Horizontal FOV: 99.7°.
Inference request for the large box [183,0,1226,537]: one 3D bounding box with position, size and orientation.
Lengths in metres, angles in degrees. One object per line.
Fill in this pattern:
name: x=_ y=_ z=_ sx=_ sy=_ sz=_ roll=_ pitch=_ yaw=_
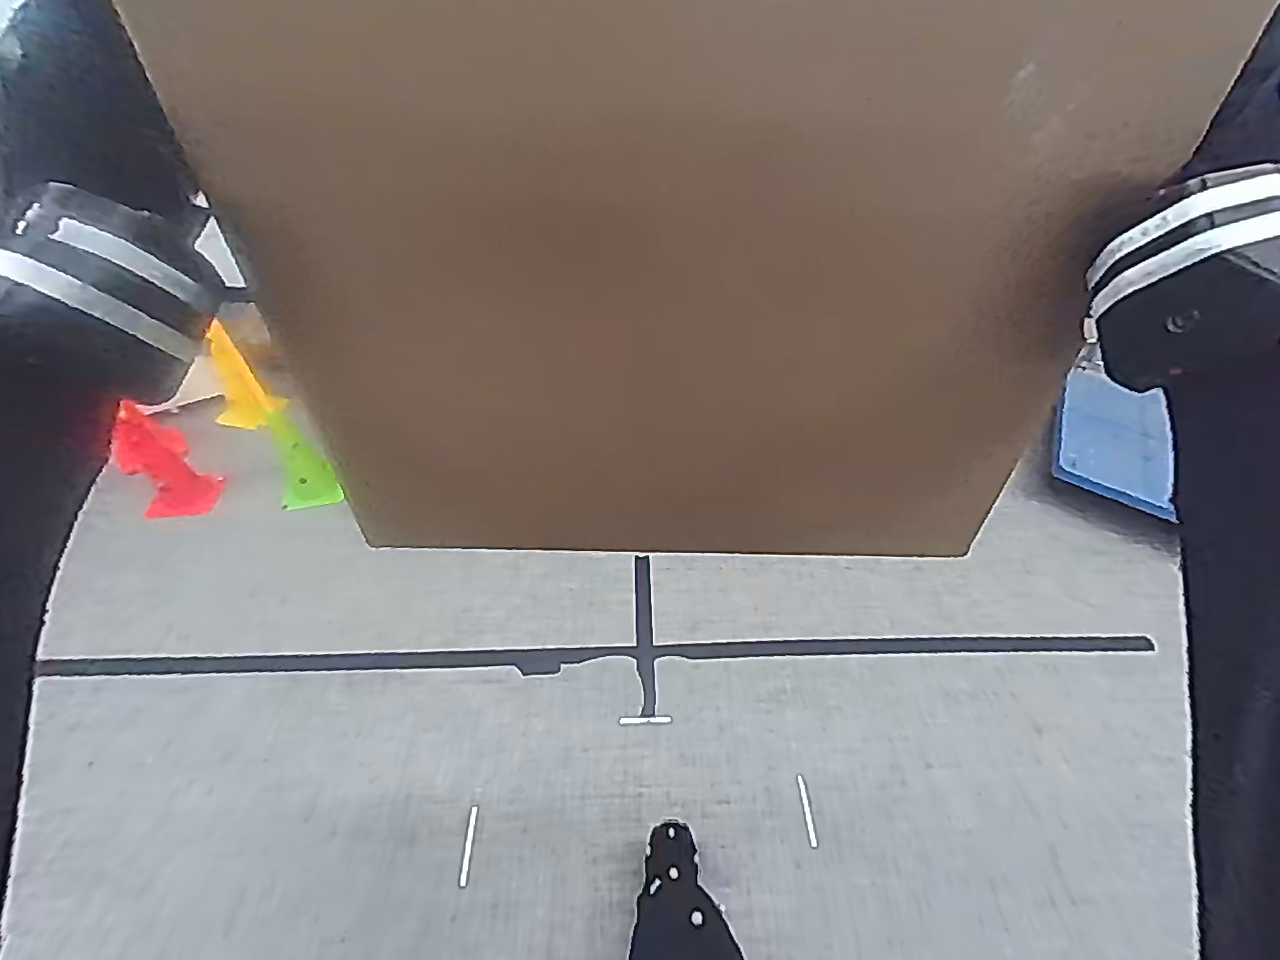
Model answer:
large box: x=0.021 y=-0.170 z=0.397 sx=0.408 sy=0.320 sz=0.320 roll=1 pitch=40 yaw=0
